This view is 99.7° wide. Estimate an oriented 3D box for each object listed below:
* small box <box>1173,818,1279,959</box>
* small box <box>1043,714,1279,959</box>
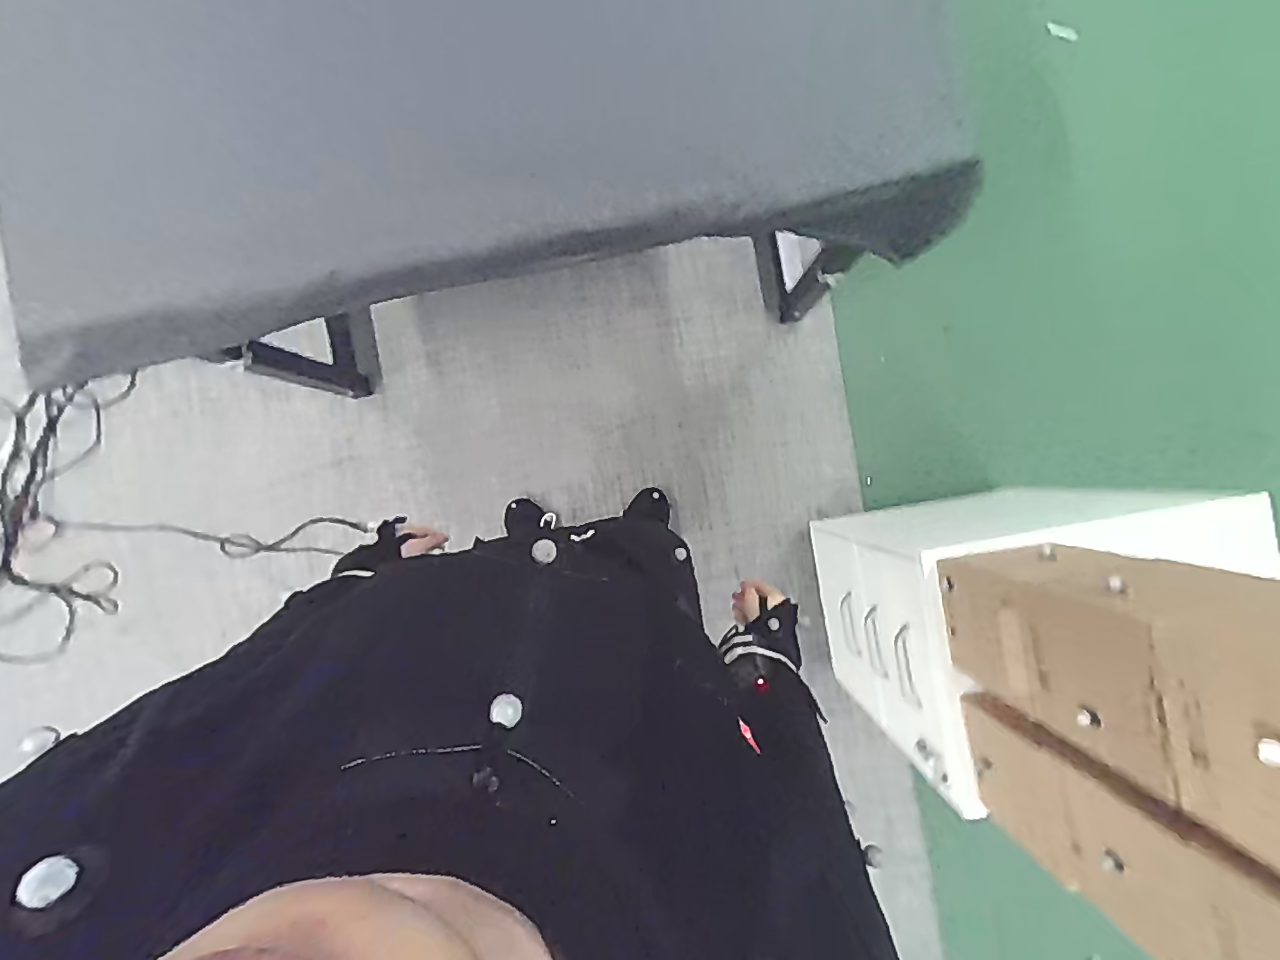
[{"bbox_3d":[0.554,0.367,0.386,0.179,0.176,0.168,-11,90,-1],"label":"small box"},{"bbox_3d":[0.554,0.366,0.550,0.179,0.176,0.168,-13,90,0],"label":"small box"}]
